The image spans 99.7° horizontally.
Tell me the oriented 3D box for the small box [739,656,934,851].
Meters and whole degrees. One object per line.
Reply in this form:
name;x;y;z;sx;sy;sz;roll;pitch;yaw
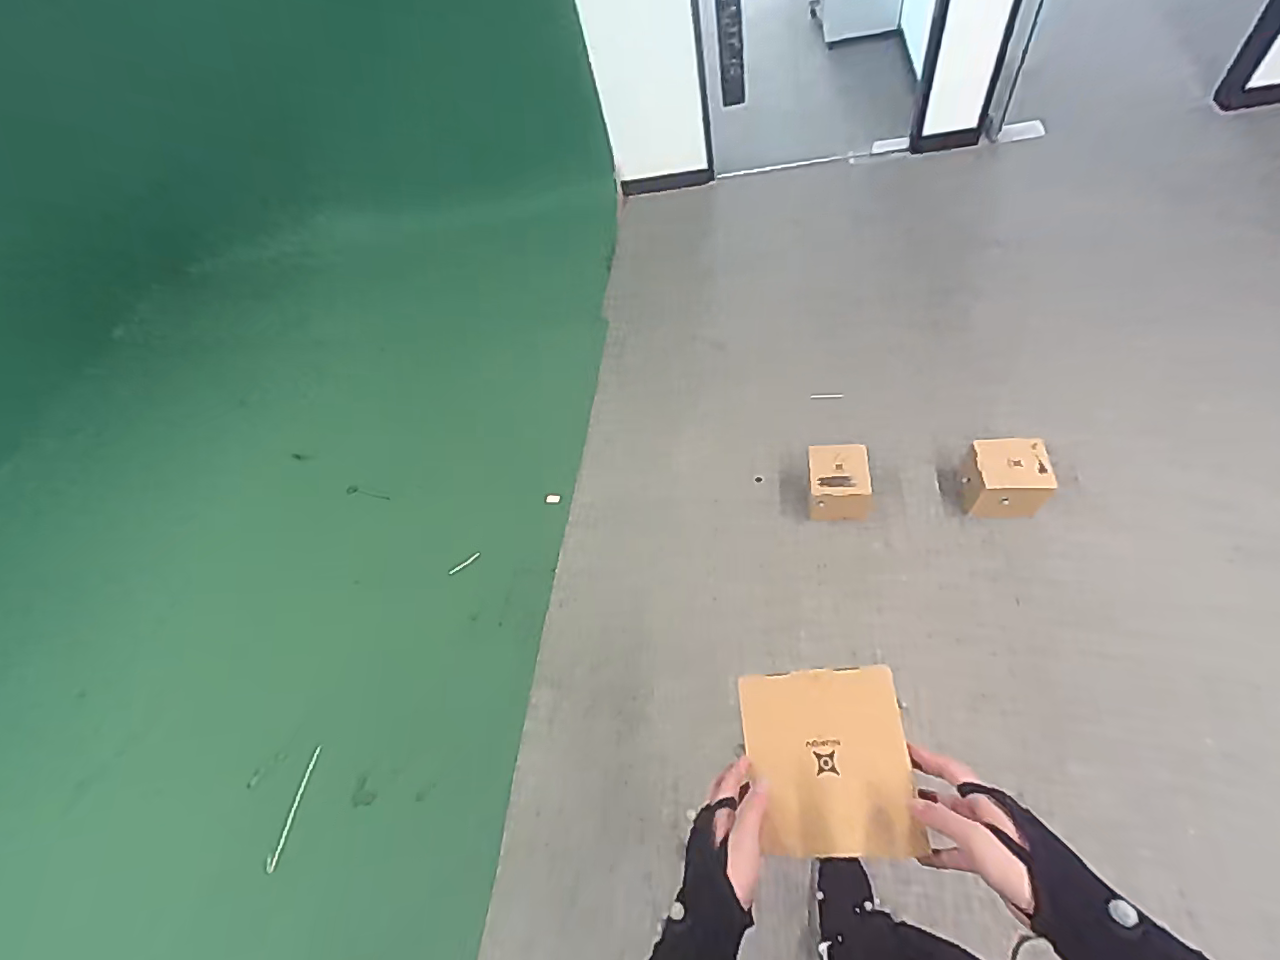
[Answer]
small box;0.215;0.309;0.625;0.168;0.176;0.179;-9;63;12

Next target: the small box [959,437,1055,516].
small box;1.033;-0.006;1.544;0.179;0.176;0.168;-1;58;13
